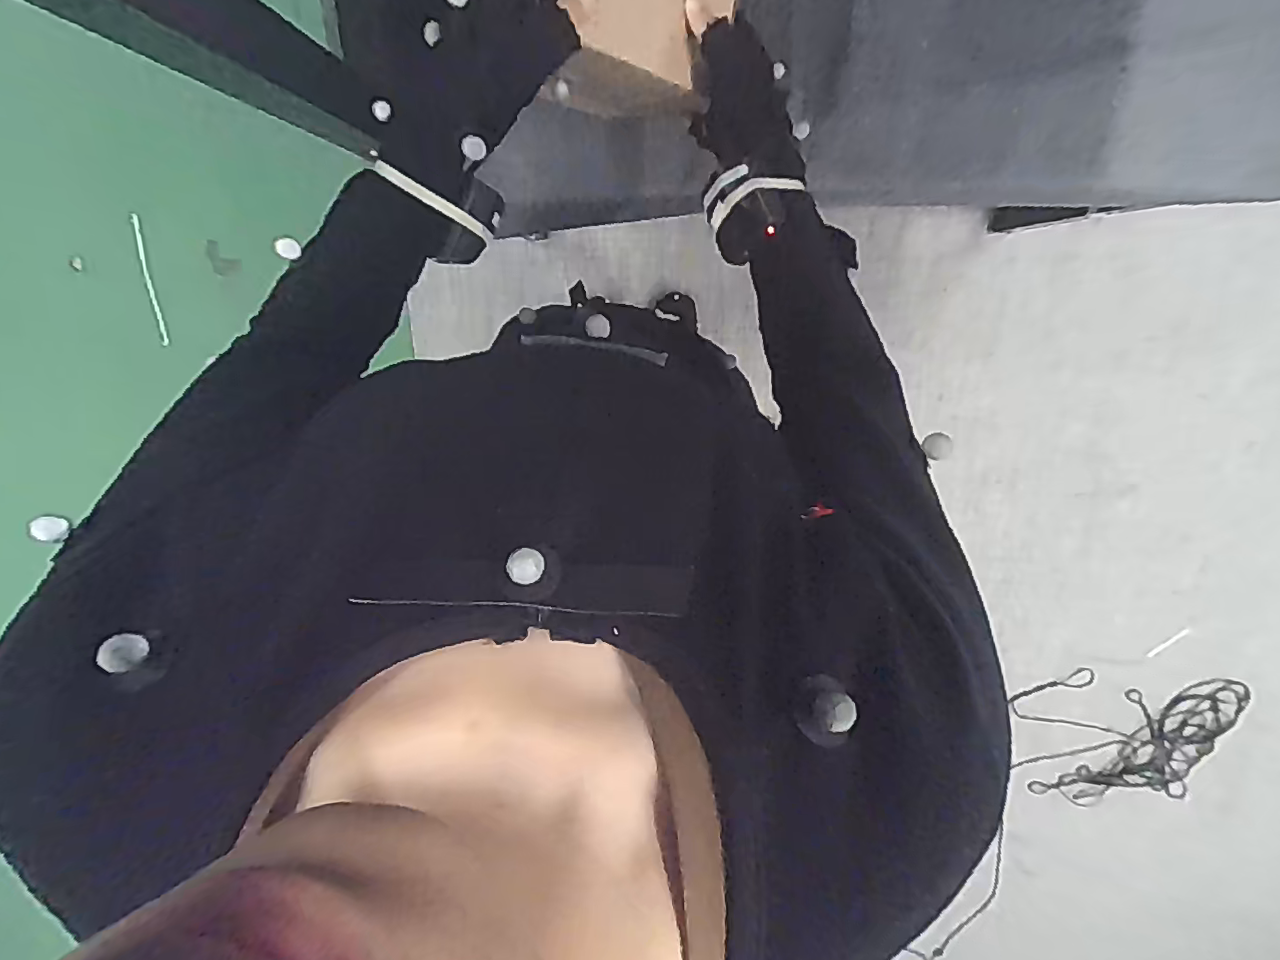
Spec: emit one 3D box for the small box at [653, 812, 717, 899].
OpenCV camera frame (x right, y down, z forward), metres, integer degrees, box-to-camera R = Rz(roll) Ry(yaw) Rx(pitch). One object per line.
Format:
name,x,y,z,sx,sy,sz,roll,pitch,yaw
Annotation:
small box,0.150,1.277,1.848,0.179,0.176,0.168,15,108,-2

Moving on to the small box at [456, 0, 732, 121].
small box,-0.039,-0.423,0.438,0.176,0.168,0.179,-12,118,-41
